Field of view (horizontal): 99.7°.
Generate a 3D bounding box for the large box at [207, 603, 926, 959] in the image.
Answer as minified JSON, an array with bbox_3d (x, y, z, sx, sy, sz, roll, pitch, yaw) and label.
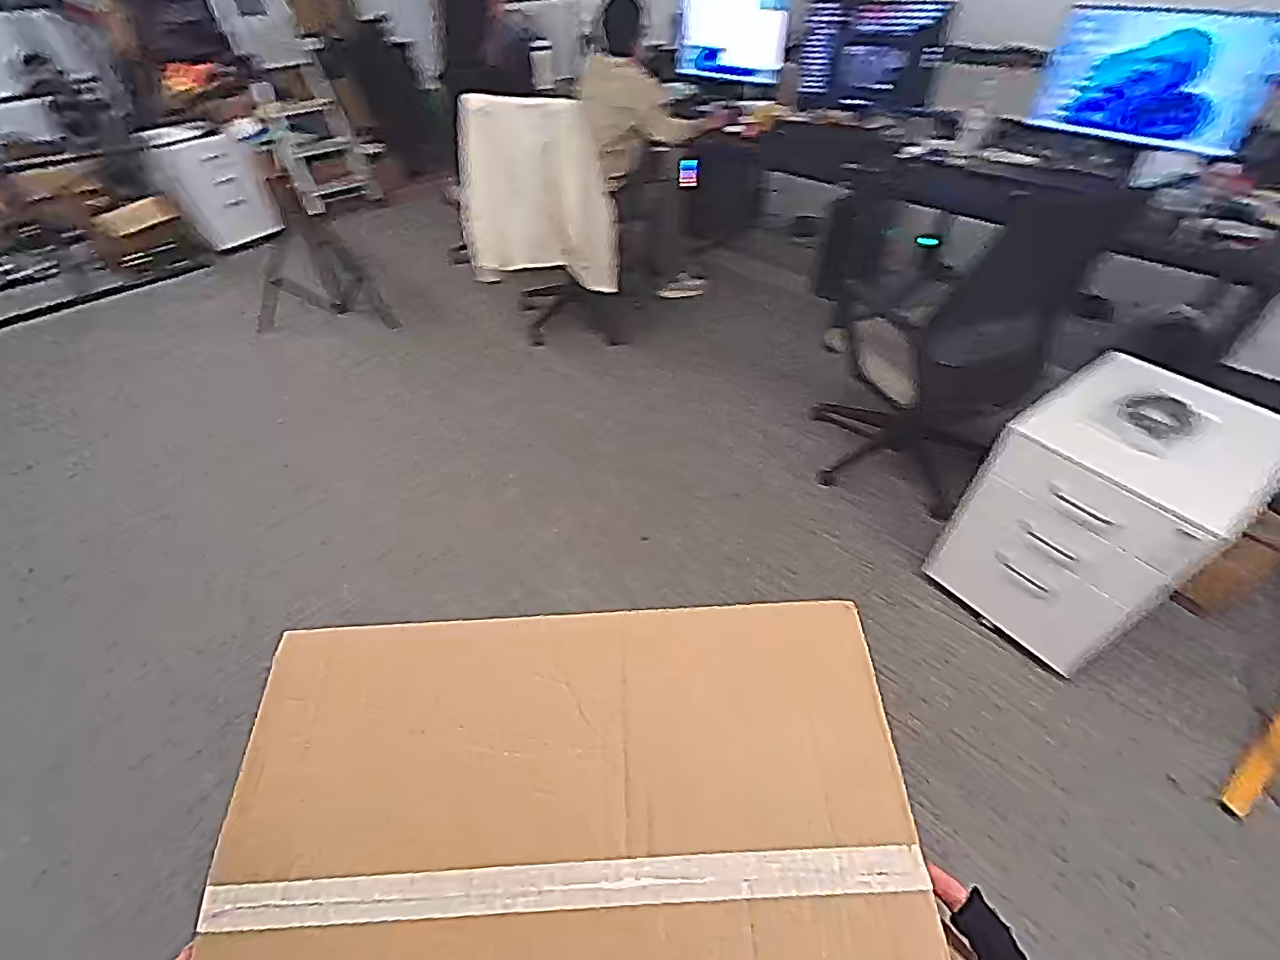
[{"bbox_3d":[-0.041,0.315,0.441,0.408,0.320,0.320,-4,59,0],"label":"large box"}]
